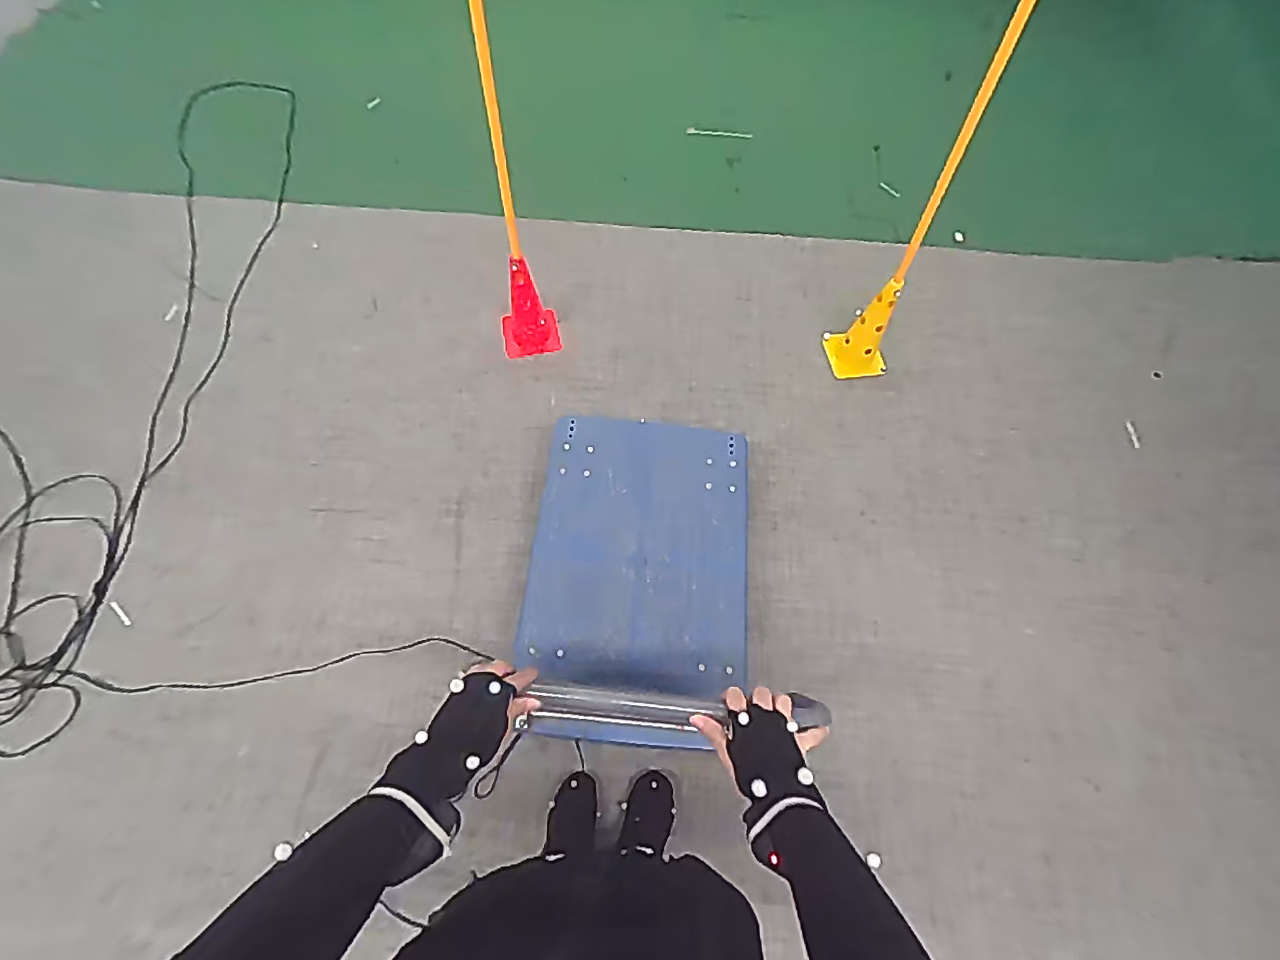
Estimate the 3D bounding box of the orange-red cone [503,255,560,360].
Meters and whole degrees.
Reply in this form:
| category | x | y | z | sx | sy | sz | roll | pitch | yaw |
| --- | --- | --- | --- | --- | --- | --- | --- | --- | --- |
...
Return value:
| category | x | y | z | sx | sy | sz | roll | pitch | yaw |
| --- | --- | --- | --- | --- | --- | --- | --- | --- | --- |
| orange-red cone | -0.390 | -0.598 | 1.813 | 0.199 | 0.360 | 0.198 | -10 | 65 | -6 |
